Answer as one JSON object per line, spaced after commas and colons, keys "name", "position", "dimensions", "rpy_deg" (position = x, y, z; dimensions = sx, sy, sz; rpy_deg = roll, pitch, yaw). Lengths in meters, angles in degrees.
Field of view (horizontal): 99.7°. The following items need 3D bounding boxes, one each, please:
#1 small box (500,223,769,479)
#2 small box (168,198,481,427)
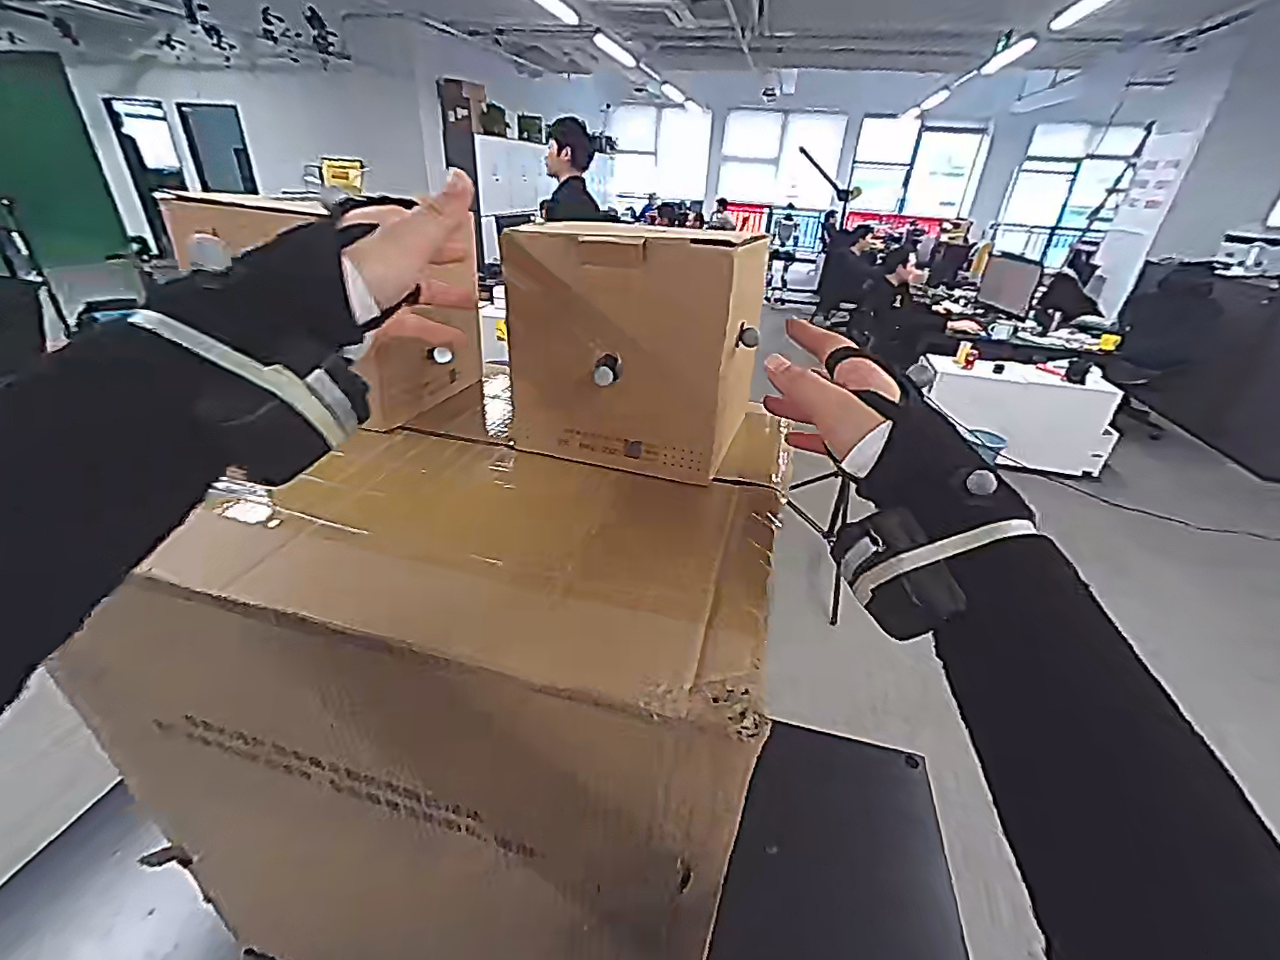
{"name": "small box", "position": [0.005, -0.117, 0.456], "dimensions": [0.168, 0.176, 0.179], "rpy_deg": [11, 29, 15]}
{"name": "small box", "position": [-0.267, -0.160, 0.503], "dimensions": [0.179, 0.176, 0.168], "rpy_deg": [11, 29, 11]}
